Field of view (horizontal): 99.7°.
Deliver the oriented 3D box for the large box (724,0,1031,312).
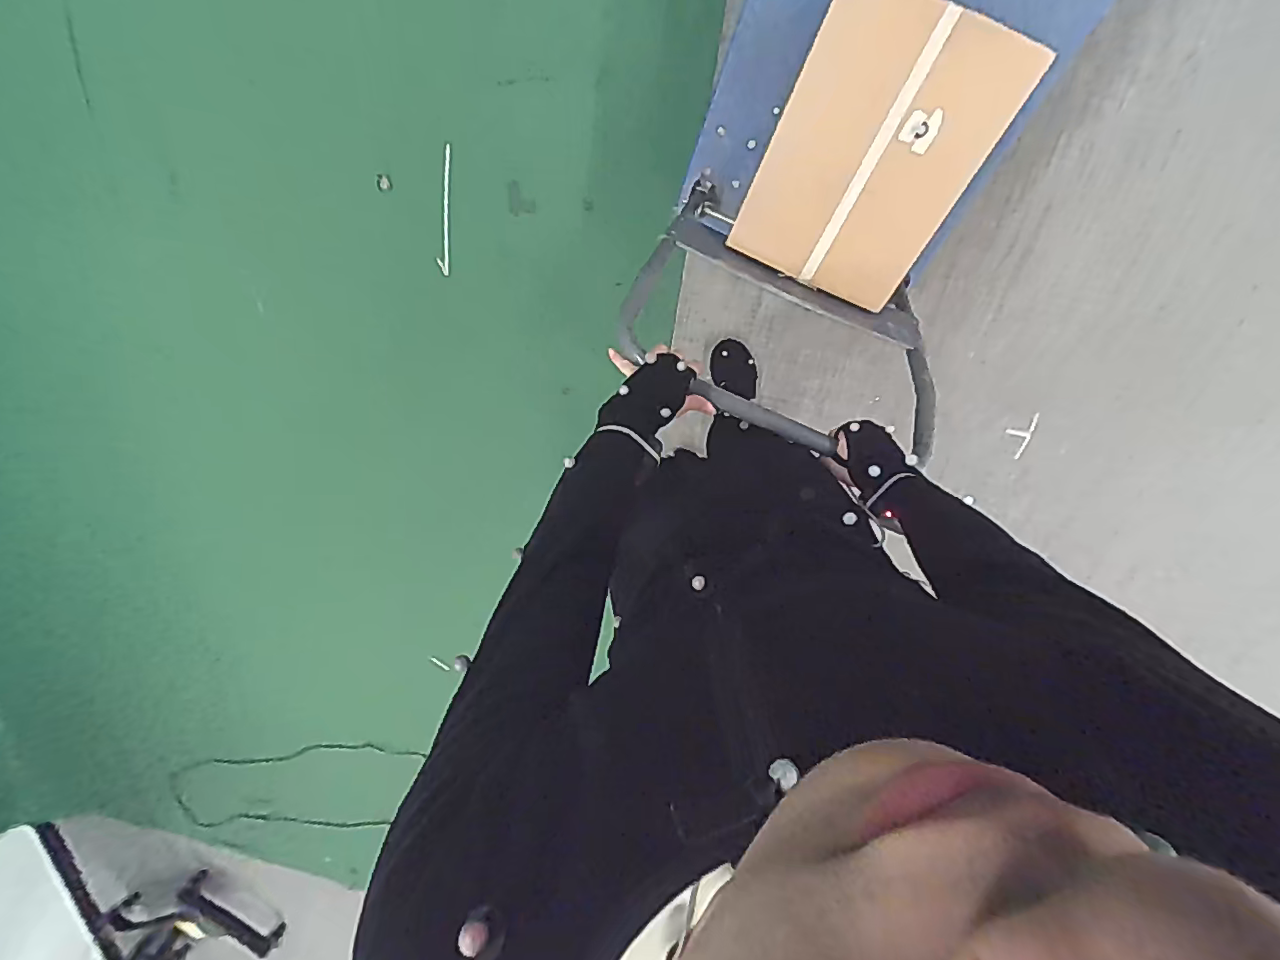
[{"bbox_3d":[0.391,-0.597,1.000,0.320,0.320,0.408,24,129,-2],"label":"large box"}]
